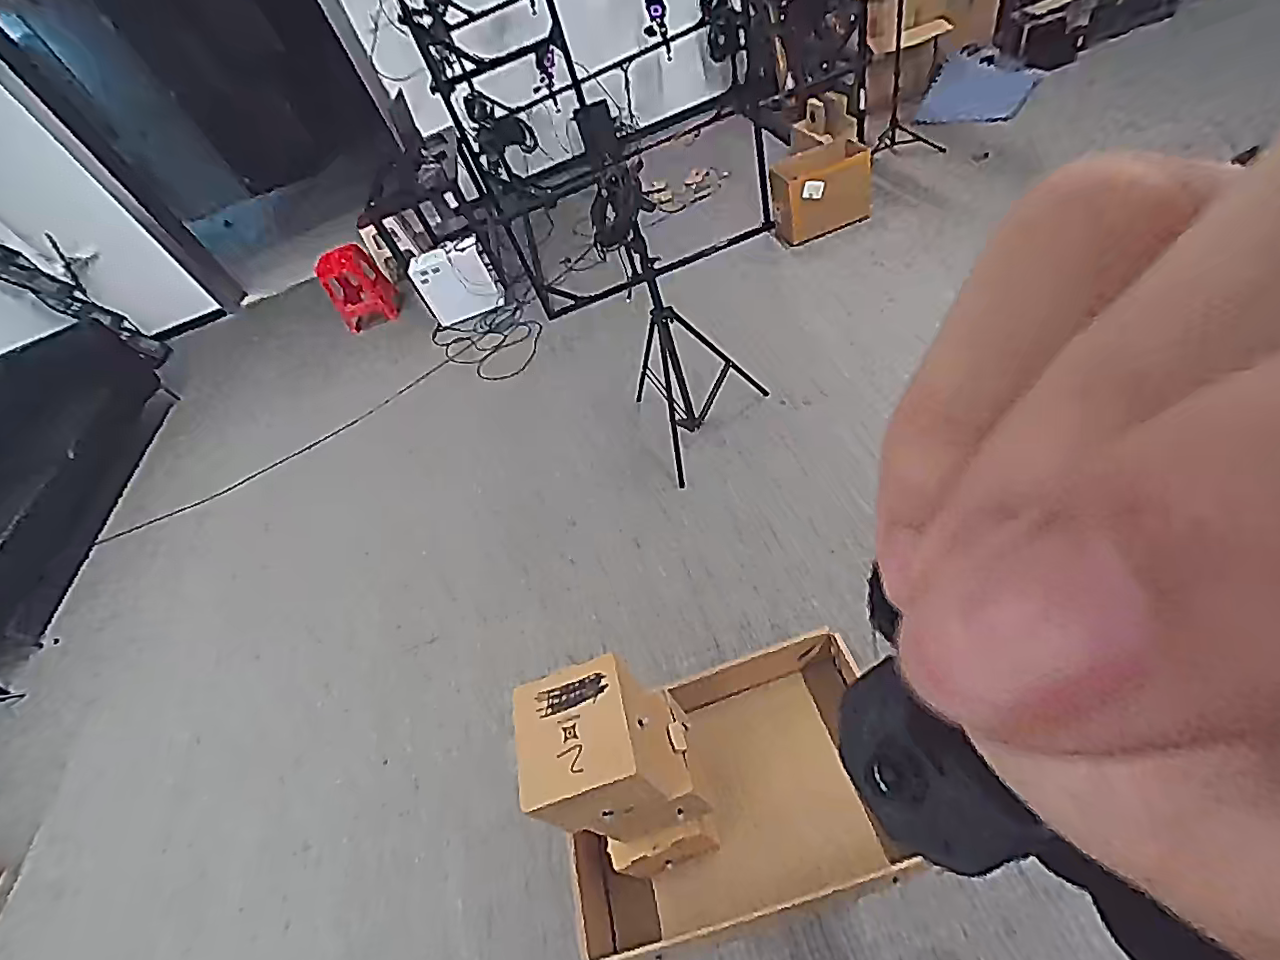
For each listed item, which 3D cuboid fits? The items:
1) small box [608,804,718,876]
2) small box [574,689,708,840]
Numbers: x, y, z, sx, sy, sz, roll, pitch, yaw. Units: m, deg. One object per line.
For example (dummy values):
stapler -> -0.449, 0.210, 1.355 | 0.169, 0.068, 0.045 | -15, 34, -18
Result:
small box -> 0.031, 0.616, 1.027 | 0.168, 0.176, 0.179 | -25, 47, 1
small box -> 0.007, 0.487, 0.922 | 0.179, 0.176, 0.168 | -21, 46, 3
